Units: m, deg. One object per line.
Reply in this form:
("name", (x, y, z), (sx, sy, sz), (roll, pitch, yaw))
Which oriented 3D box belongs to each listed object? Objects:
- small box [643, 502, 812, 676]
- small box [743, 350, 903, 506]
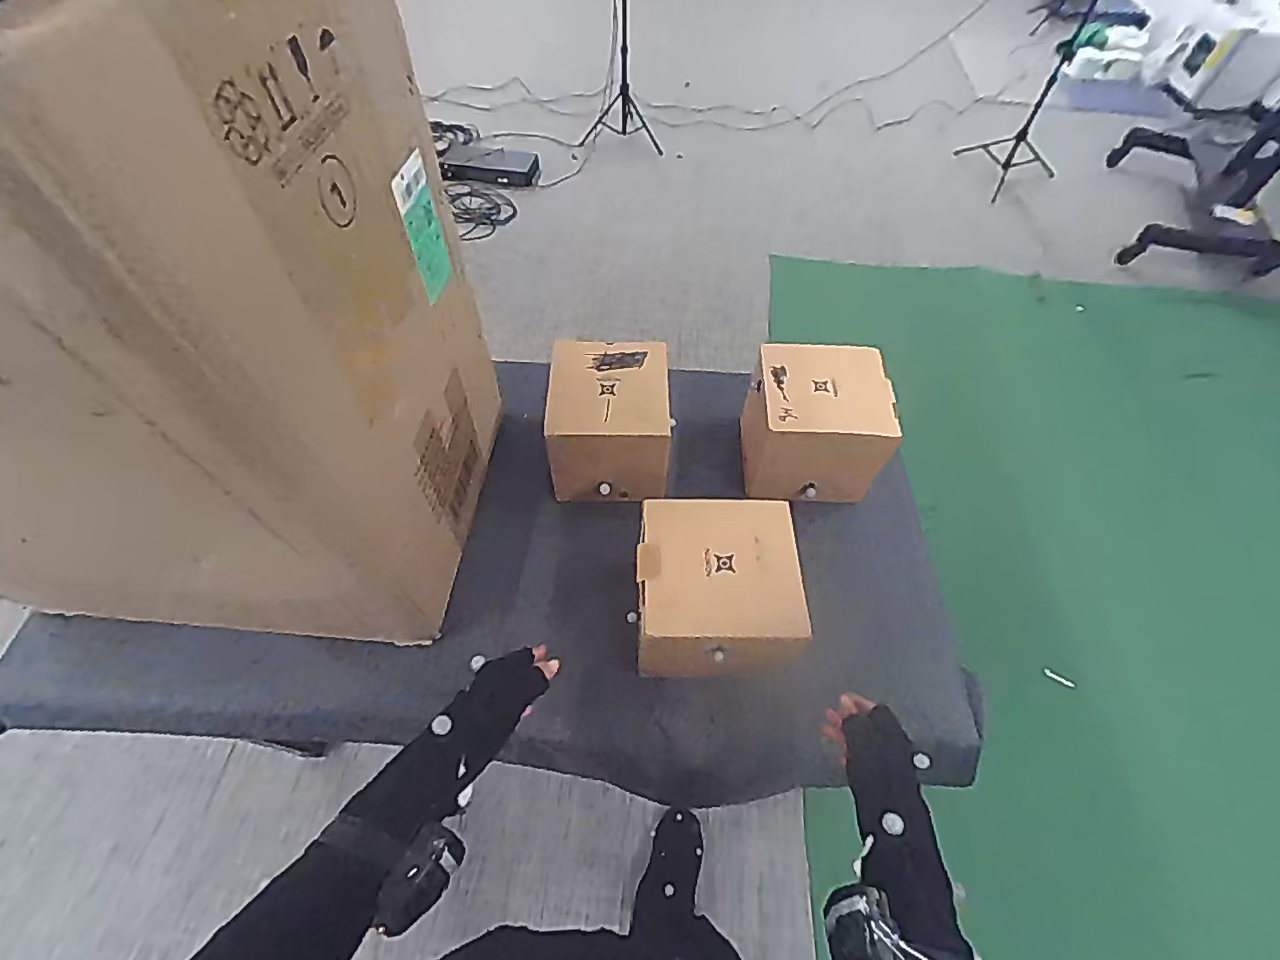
("small box", (0.092, 0.140, 0.670), (0.179, 0.176, 0.168), (1, 57, -2))
("small box", (0.261, -0.073, 0.817), (0.179, 0.176, 0.168), (3, 54, 0))
